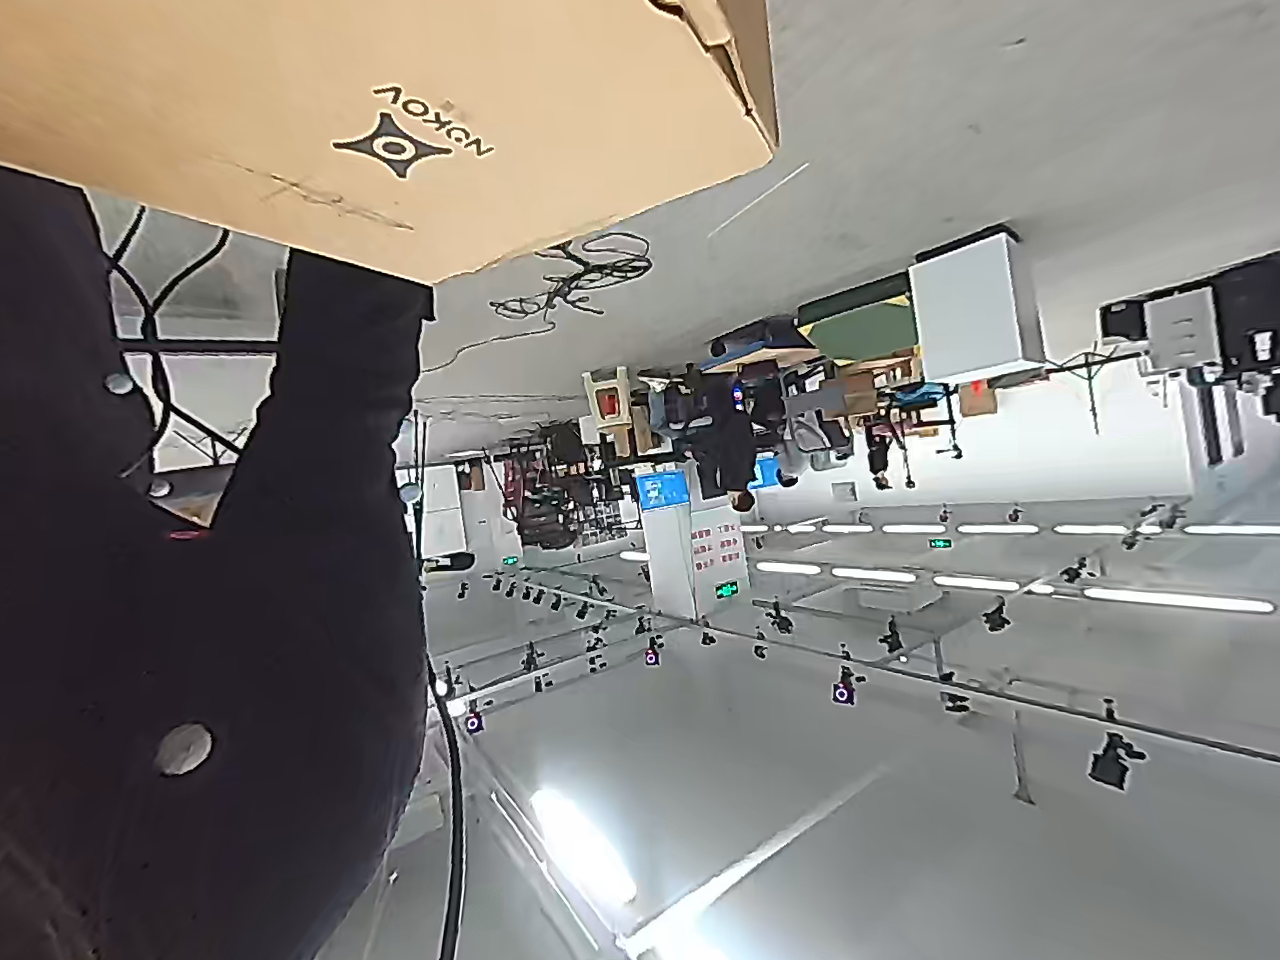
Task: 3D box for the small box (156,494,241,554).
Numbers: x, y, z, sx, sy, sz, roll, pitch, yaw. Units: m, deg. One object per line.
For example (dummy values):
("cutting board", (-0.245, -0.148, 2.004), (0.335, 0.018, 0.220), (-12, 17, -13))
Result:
("small box", (-1.413, 0.136, 1.738), (0.168, 0.176, 0.179), (-9, -179, -24))
